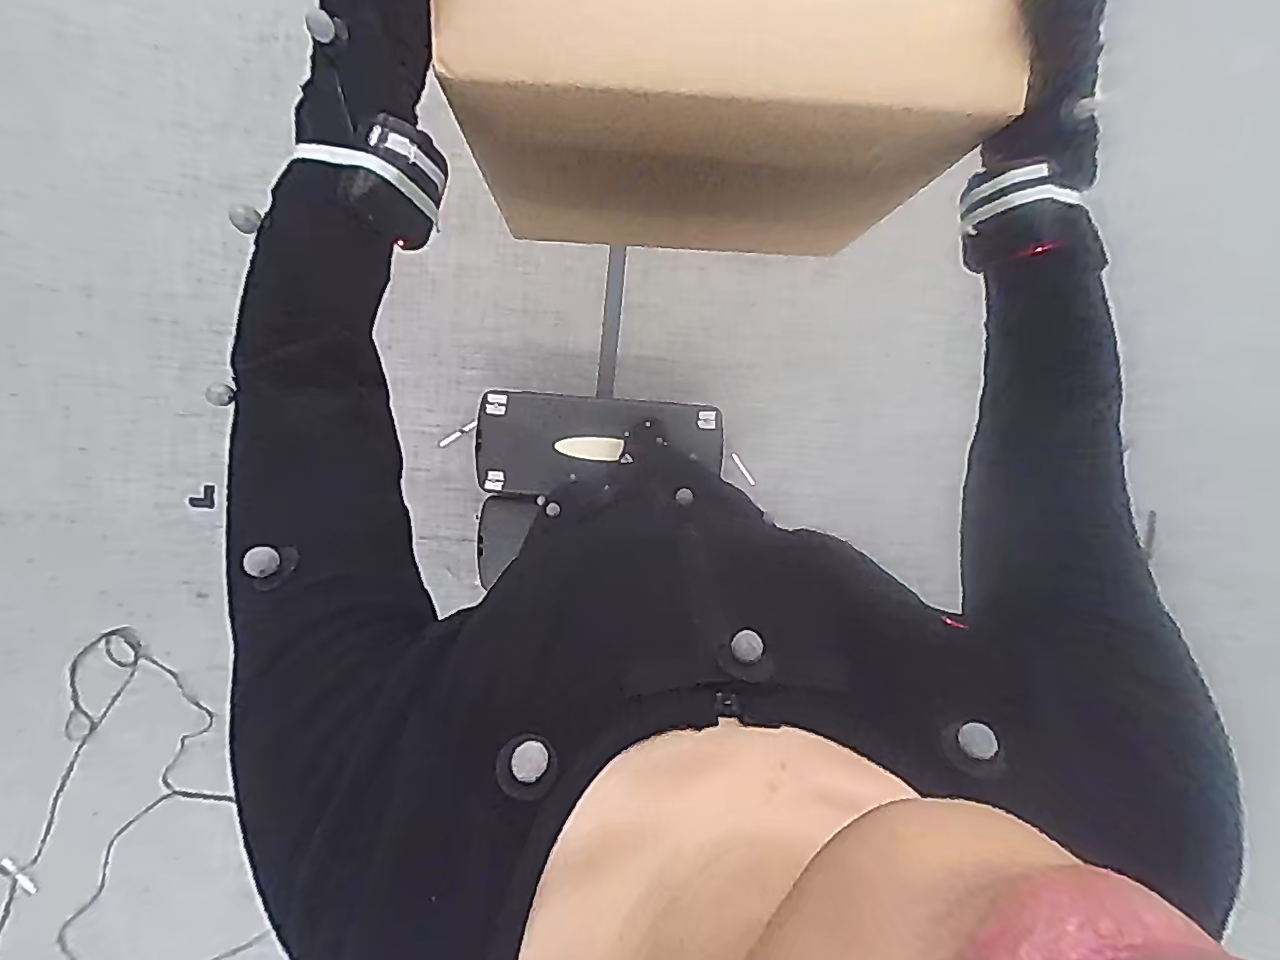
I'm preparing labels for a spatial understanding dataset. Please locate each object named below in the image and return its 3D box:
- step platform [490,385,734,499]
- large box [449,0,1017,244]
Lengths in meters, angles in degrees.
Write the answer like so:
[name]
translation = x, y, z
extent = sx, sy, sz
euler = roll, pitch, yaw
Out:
[step platform]
translation = -0.078, -0.106, 1.548
extent = 0.684, 0.204, 0.286
euler = 3, 95, -5
[large box]
translation = 0.059, -0.436, 0.511
extent = 0.408, 0.320, 0.320
euler = 1, 96, -5
